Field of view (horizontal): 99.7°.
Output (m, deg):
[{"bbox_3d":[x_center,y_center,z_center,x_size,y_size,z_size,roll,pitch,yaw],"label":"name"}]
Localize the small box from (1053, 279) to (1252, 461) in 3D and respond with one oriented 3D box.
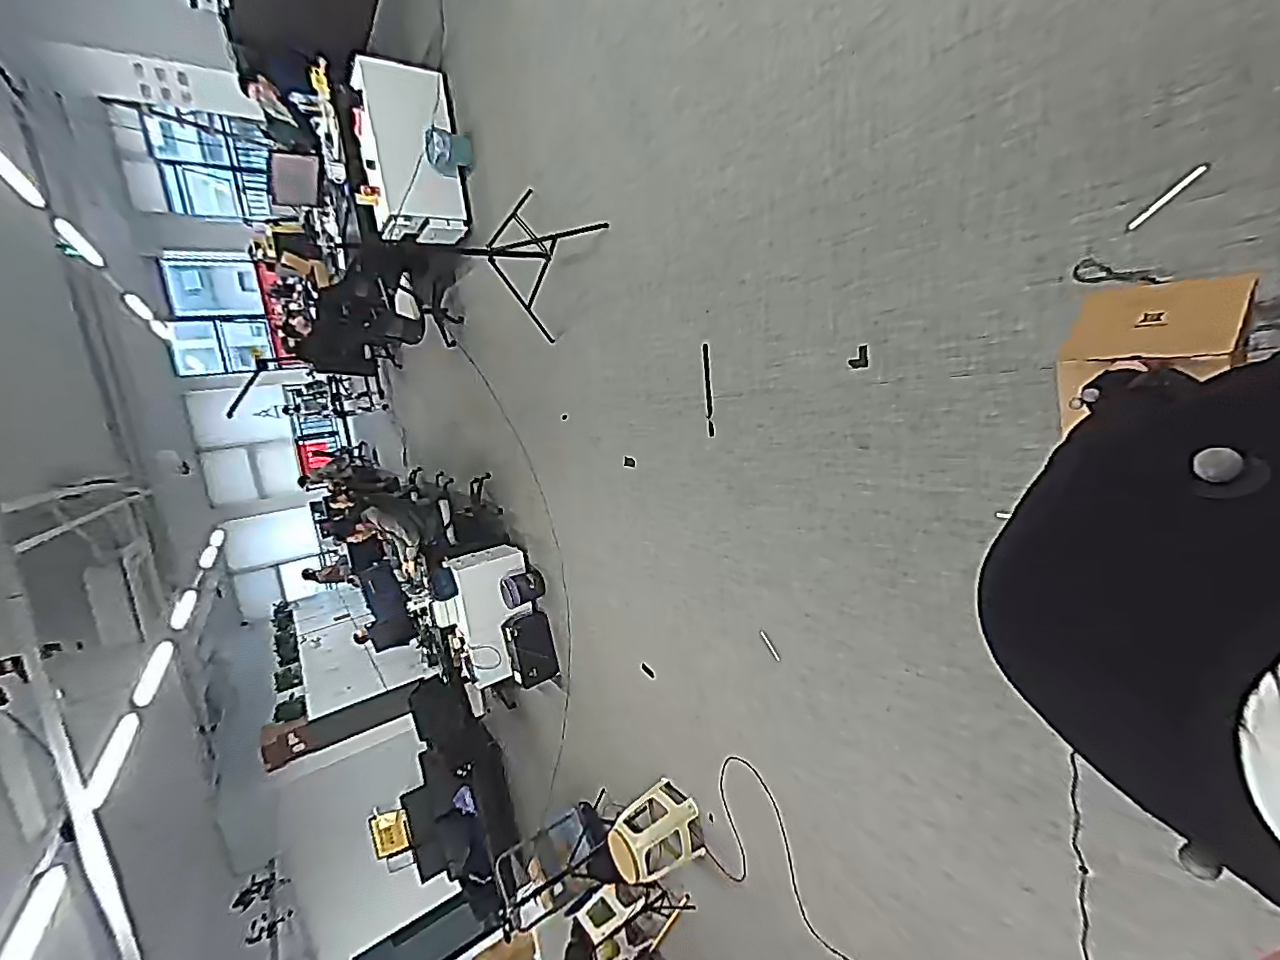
[{"bbox_3d":[0.700,-0.146,0.745,0.168,0.179,0.176,12,142,49],"label":"small box"}]
